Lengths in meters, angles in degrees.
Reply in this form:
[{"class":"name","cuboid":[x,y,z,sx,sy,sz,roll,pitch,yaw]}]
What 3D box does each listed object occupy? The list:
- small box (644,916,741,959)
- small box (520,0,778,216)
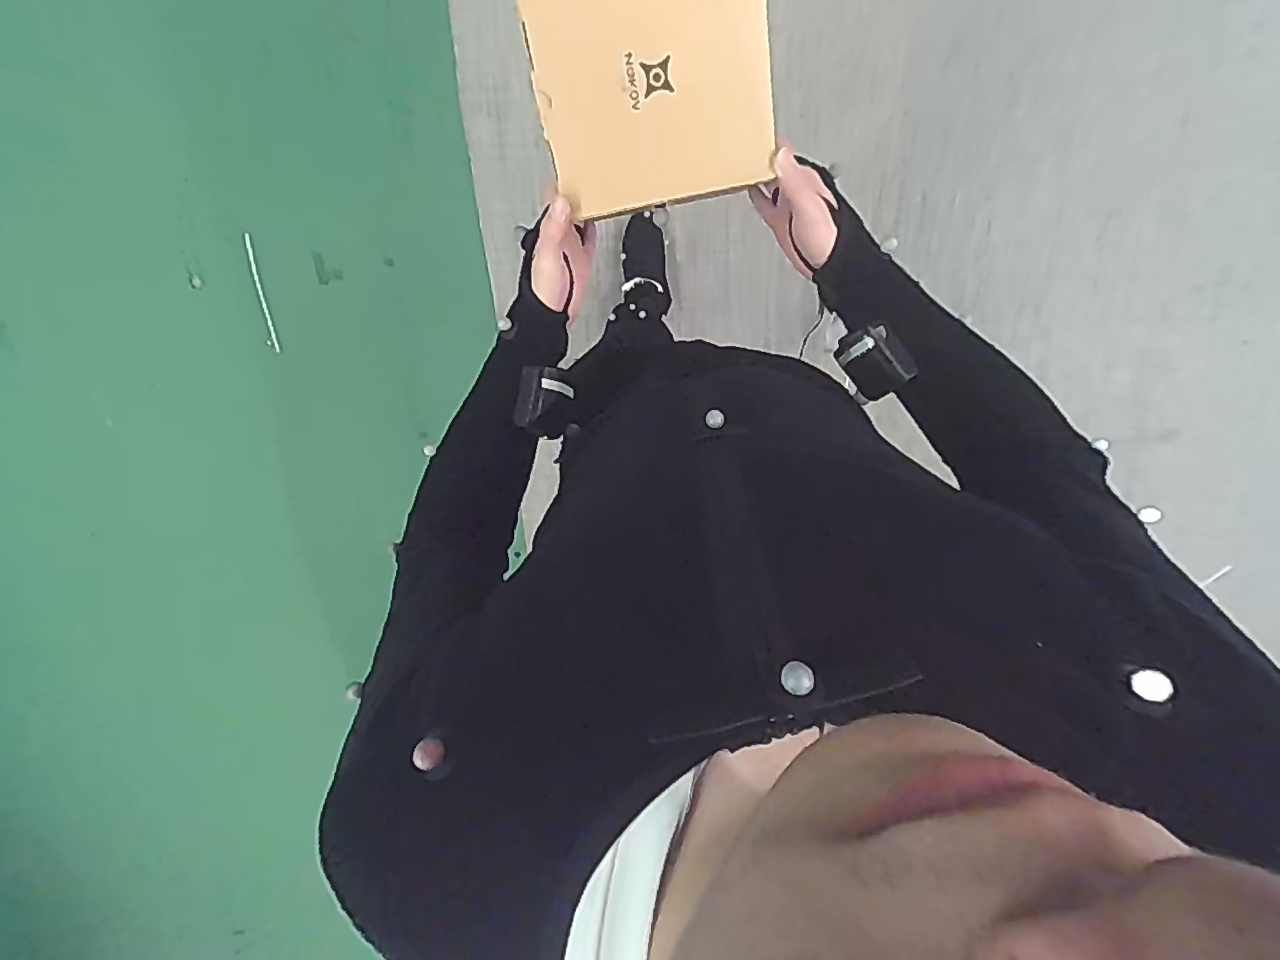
[{"class":"small box","cuboid":[0.097,0.955,1.006,0.179,0.176,0.168,3,110,1]},{"class":"small box","cuboid":[0.015,-0.337,0.470,0.179,0.176,0.168,-7,116,9]}]
